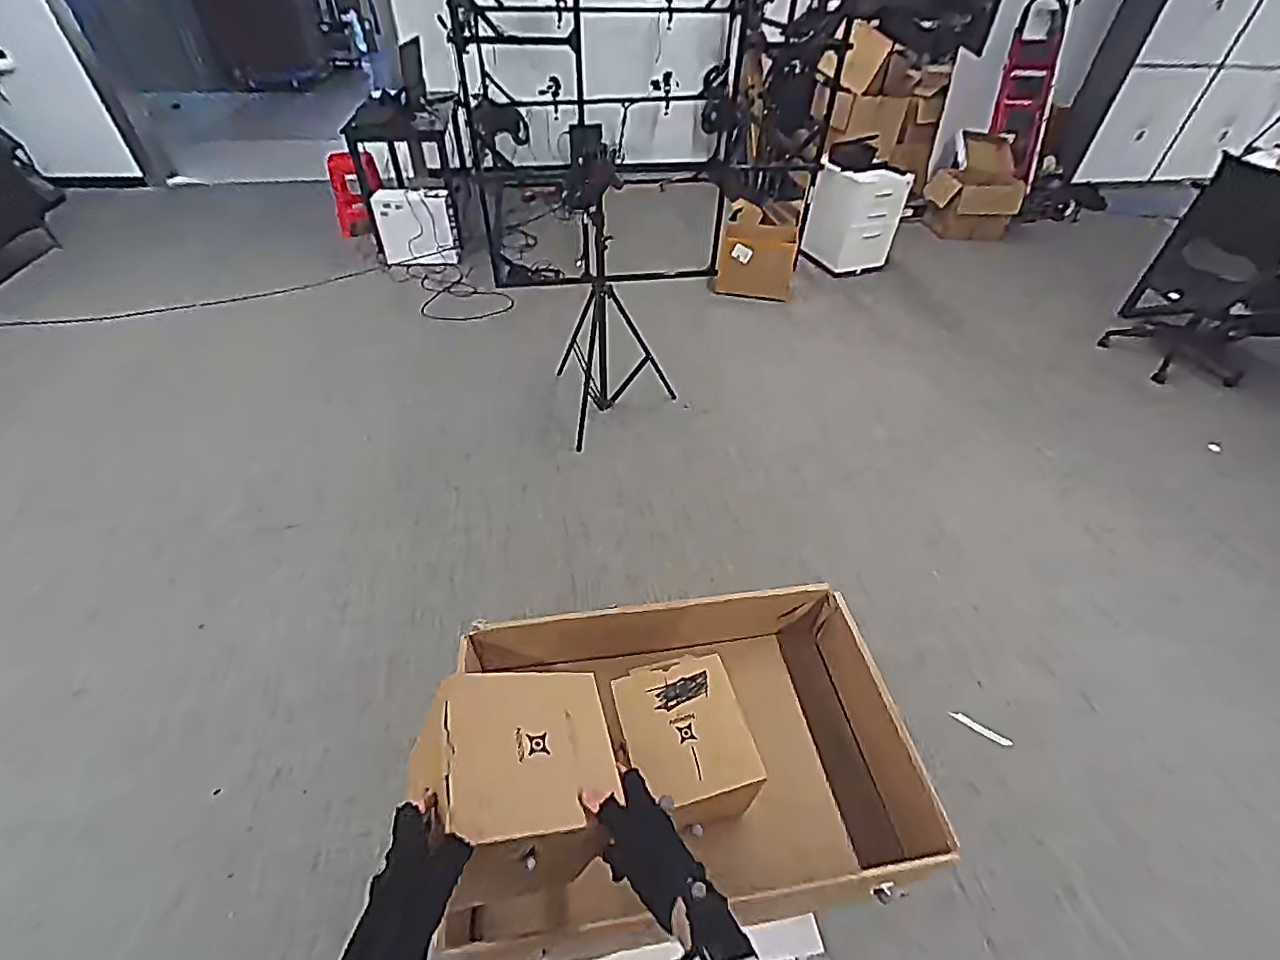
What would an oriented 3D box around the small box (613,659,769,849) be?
[{"bbox_3d":[0.058,0.388,0.771,0.168,0.176,0.179,-10,47,-13],"label":"small box"}]
